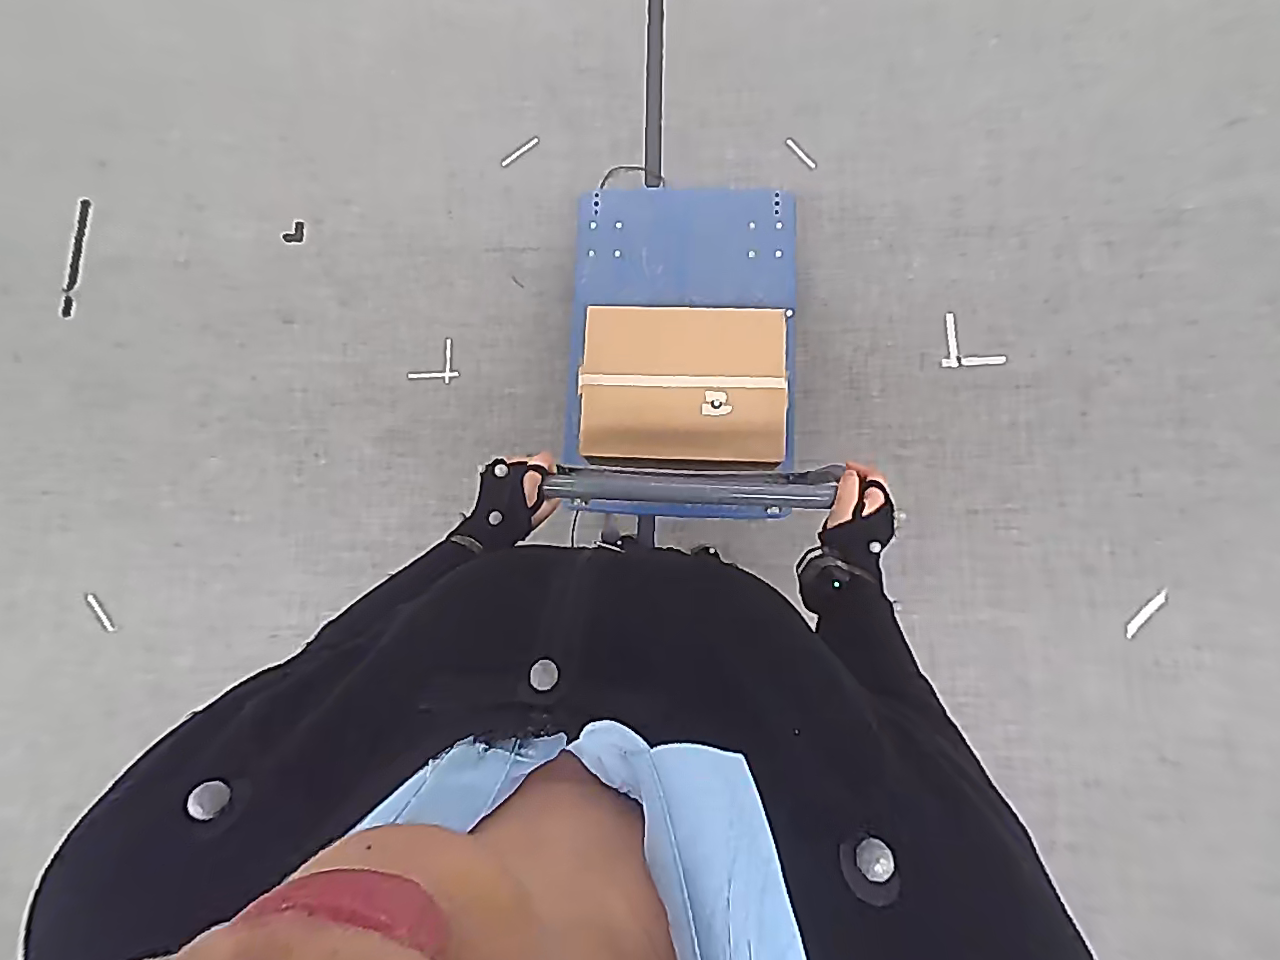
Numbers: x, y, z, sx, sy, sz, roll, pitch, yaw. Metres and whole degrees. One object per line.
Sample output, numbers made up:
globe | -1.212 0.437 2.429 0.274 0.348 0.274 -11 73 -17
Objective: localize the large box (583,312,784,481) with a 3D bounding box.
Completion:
large box | 0.091 -0.170 1.231 0.408 0.320 0.320 2 83 3
